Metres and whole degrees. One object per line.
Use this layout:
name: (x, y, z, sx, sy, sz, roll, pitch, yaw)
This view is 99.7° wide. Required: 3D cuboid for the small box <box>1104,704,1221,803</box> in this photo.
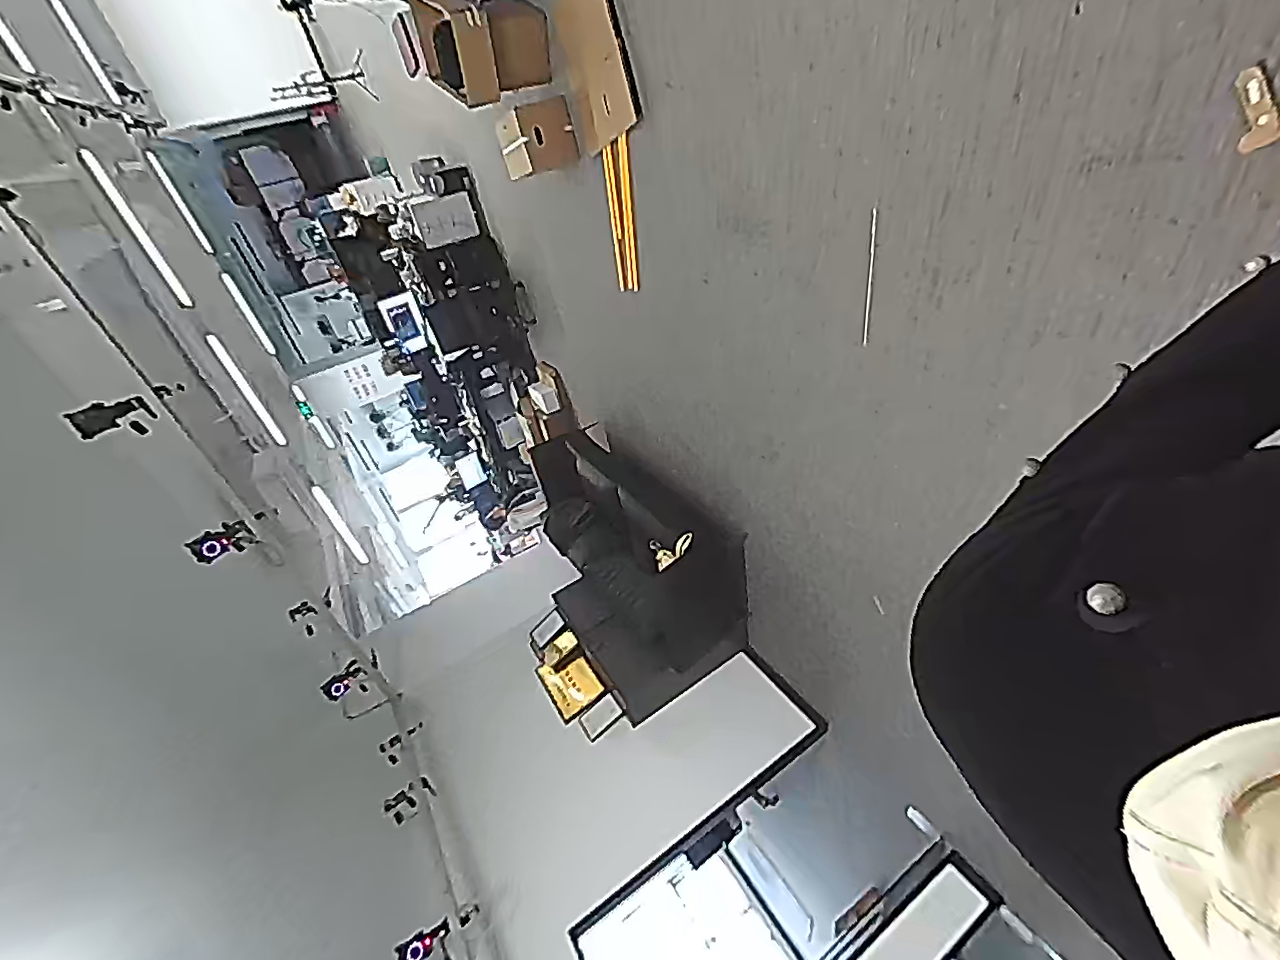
small box: (1.573, 0.818, 1.629, 0.179, 0.176, 0.168, 44, 153, 45)
